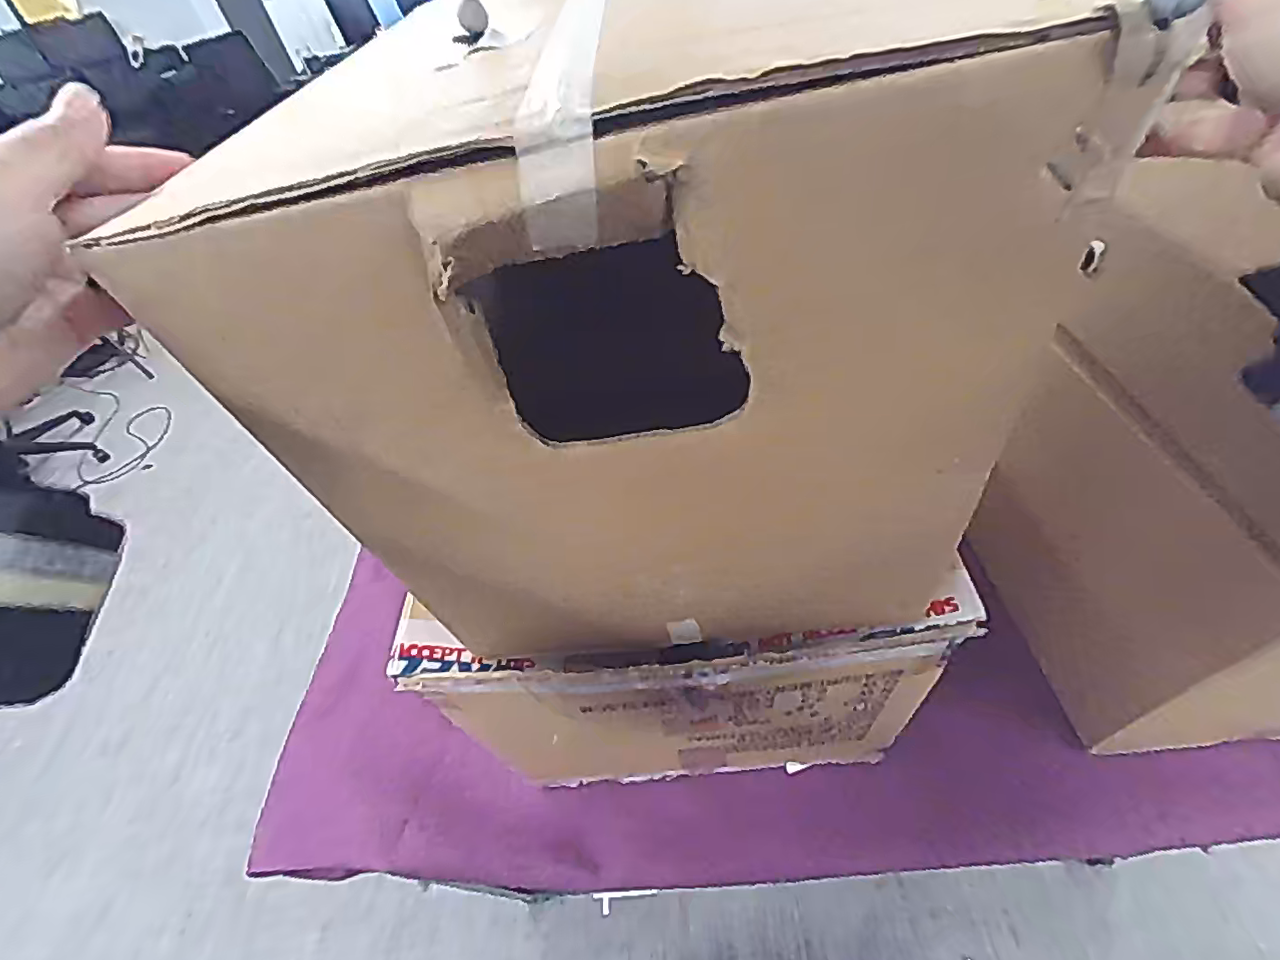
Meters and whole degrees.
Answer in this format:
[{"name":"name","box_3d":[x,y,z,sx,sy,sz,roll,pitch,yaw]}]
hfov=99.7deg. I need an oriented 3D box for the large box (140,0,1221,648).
[{"name":"large box","box_3d":[0.012,-0.141,0.388,0.320,0.320,0.408,-9,49,8]}]
